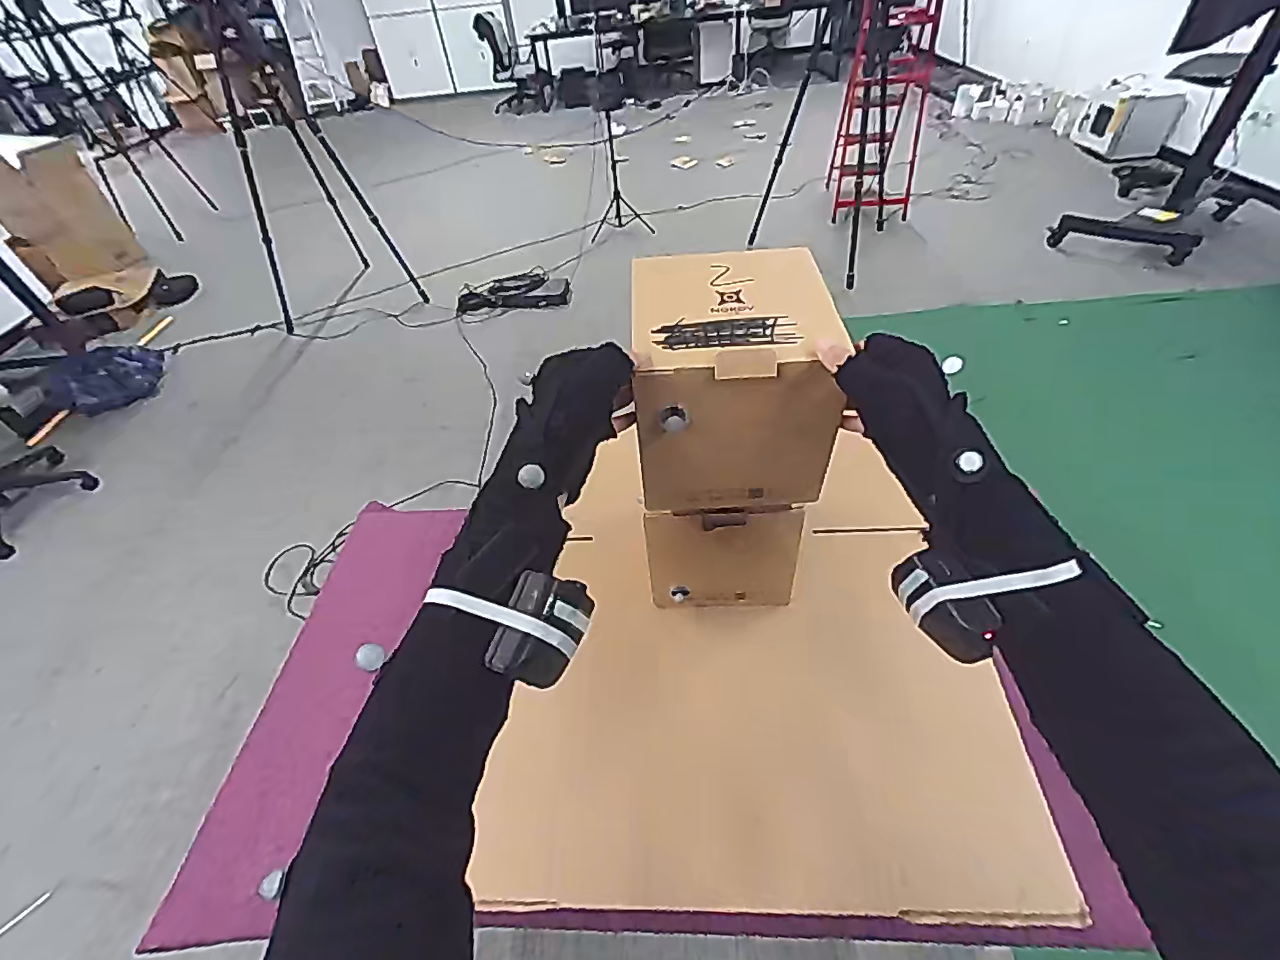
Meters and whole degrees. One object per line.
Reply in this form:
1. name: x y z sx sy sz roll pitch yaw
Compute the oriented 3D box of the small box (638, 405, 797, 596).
1. small box: 0.090 0.029 0.665 0.168 0.176 0.179 -2 43 5
